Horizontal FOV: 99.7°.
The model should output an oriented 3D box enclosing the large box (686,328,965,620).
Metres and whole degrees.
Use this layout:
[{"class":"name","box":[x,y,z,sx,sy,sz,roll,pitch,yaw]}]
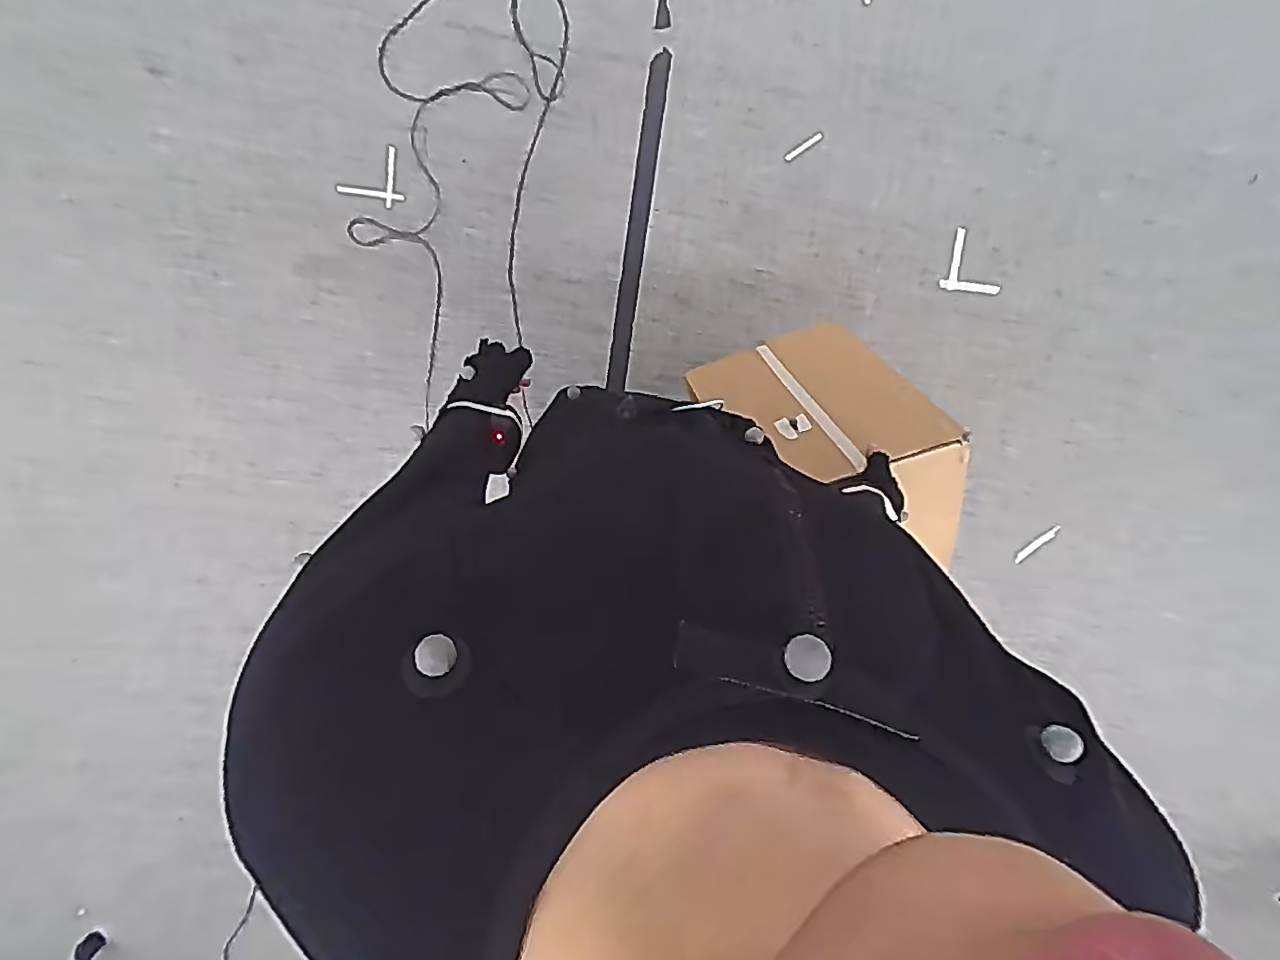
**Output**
[{"class":"large box","box":[0.306,-0.023,1.005,0.320,0.408,0.320,-18,131,1]}]
